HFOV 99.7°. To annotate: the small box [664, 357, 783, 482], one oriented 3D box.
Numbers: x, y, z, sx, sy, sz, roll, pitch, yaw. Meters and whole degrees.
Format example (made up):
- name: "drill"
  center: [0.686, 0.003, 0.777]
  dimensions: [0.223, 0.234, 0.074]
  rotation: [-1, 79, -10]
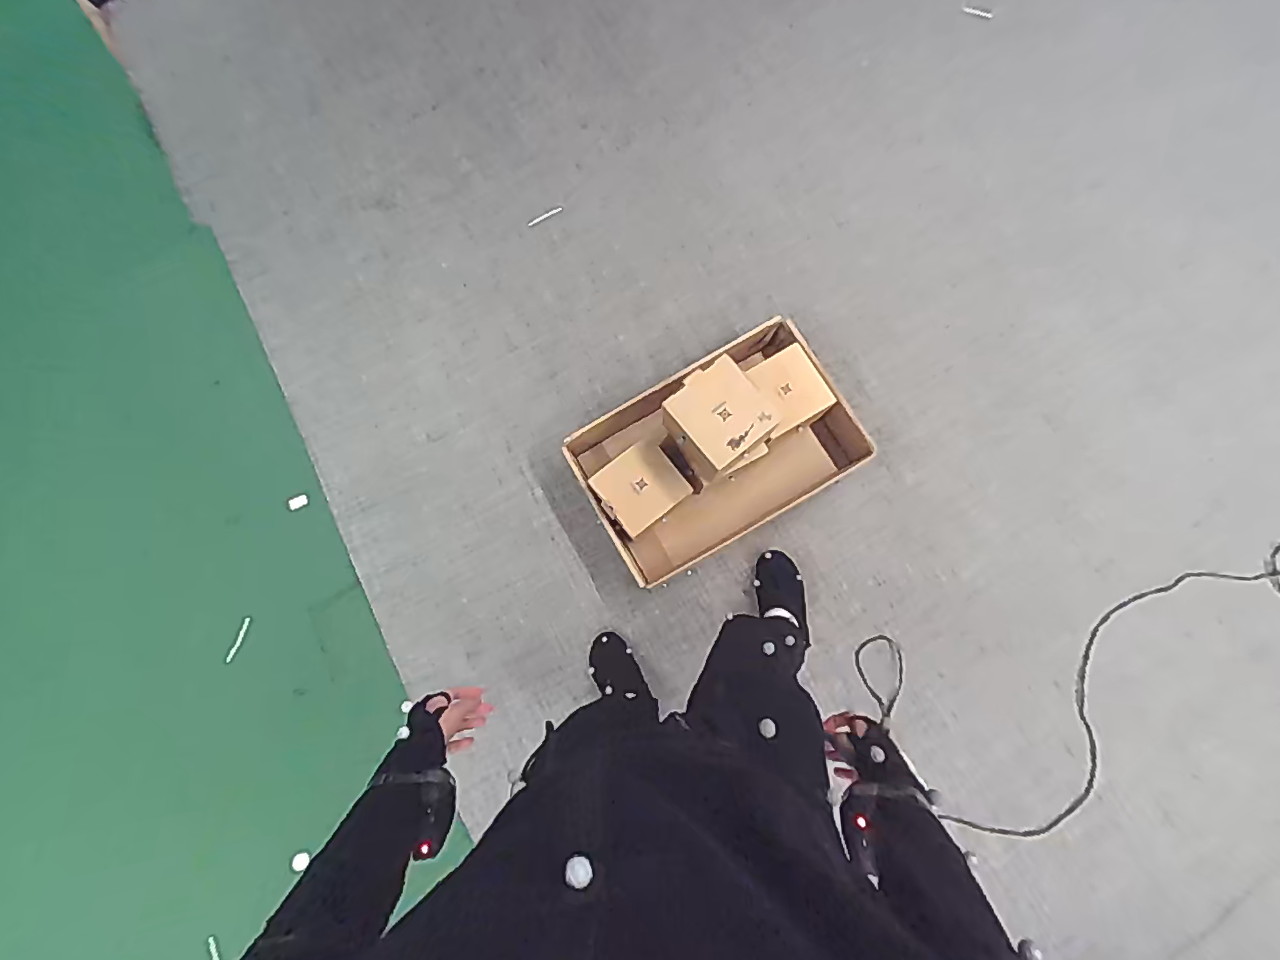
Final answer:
- name: "small box"
  center: [0.165, -0.116, 1.125]
  dimensions: [0.168, 0.176, 0.179]
  rotation: [-39, 81, -3]
